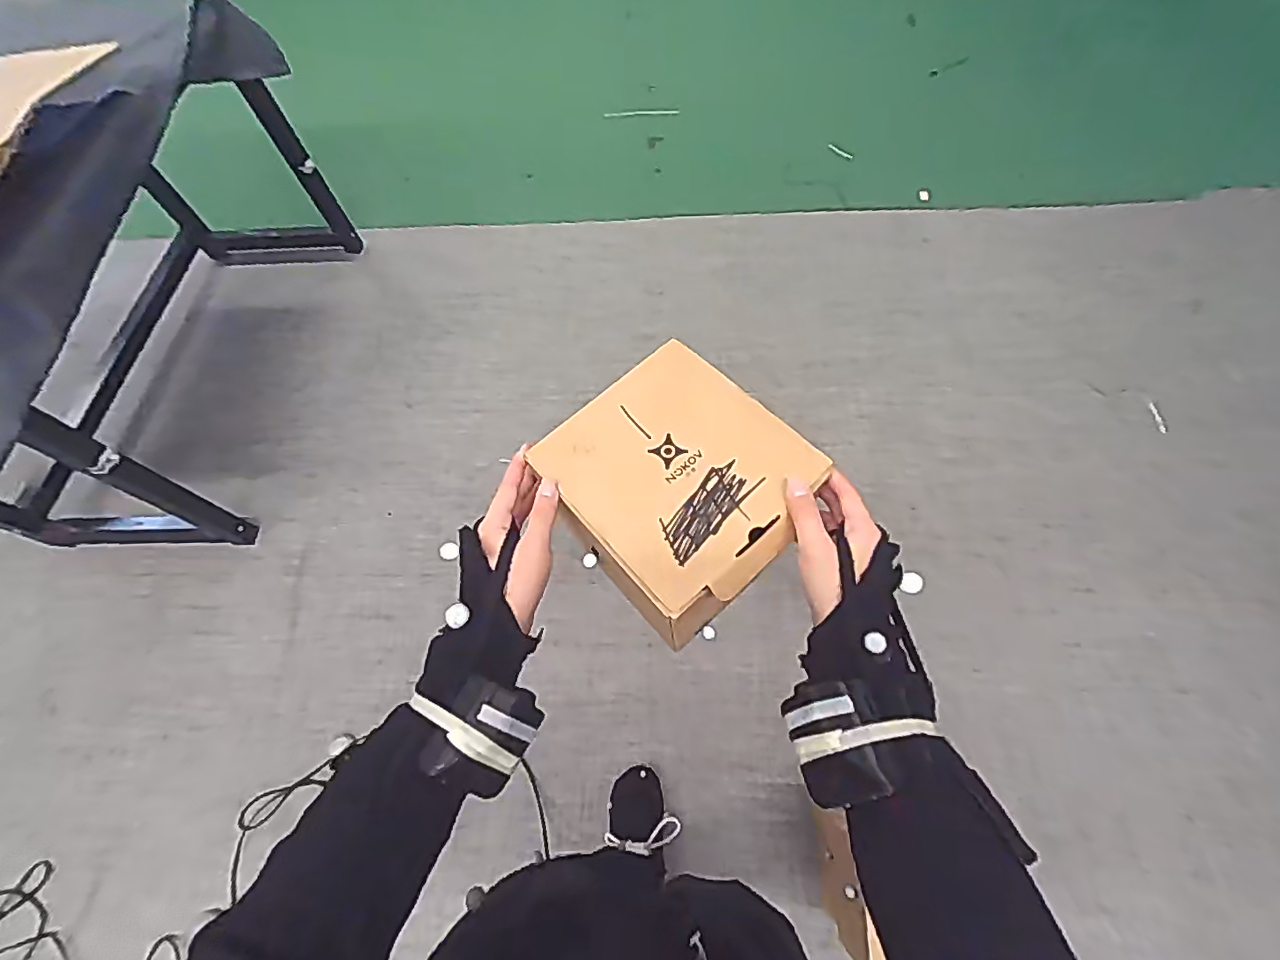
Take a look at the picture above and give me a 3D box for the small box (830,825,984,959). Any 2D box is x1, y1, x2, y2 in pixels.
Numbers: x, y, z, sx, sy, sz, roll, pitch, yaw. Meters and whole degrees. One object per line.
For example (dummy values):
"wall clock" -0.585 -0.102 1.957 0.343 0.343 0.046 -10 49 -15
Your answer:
"small box" 0.405 0.660 0.845 0.168 0.176 0.179 3 63 5

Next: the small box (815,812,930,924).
"small box" 0.426 0.723 0.995 0.168 0.176 0.179 3 62 5
